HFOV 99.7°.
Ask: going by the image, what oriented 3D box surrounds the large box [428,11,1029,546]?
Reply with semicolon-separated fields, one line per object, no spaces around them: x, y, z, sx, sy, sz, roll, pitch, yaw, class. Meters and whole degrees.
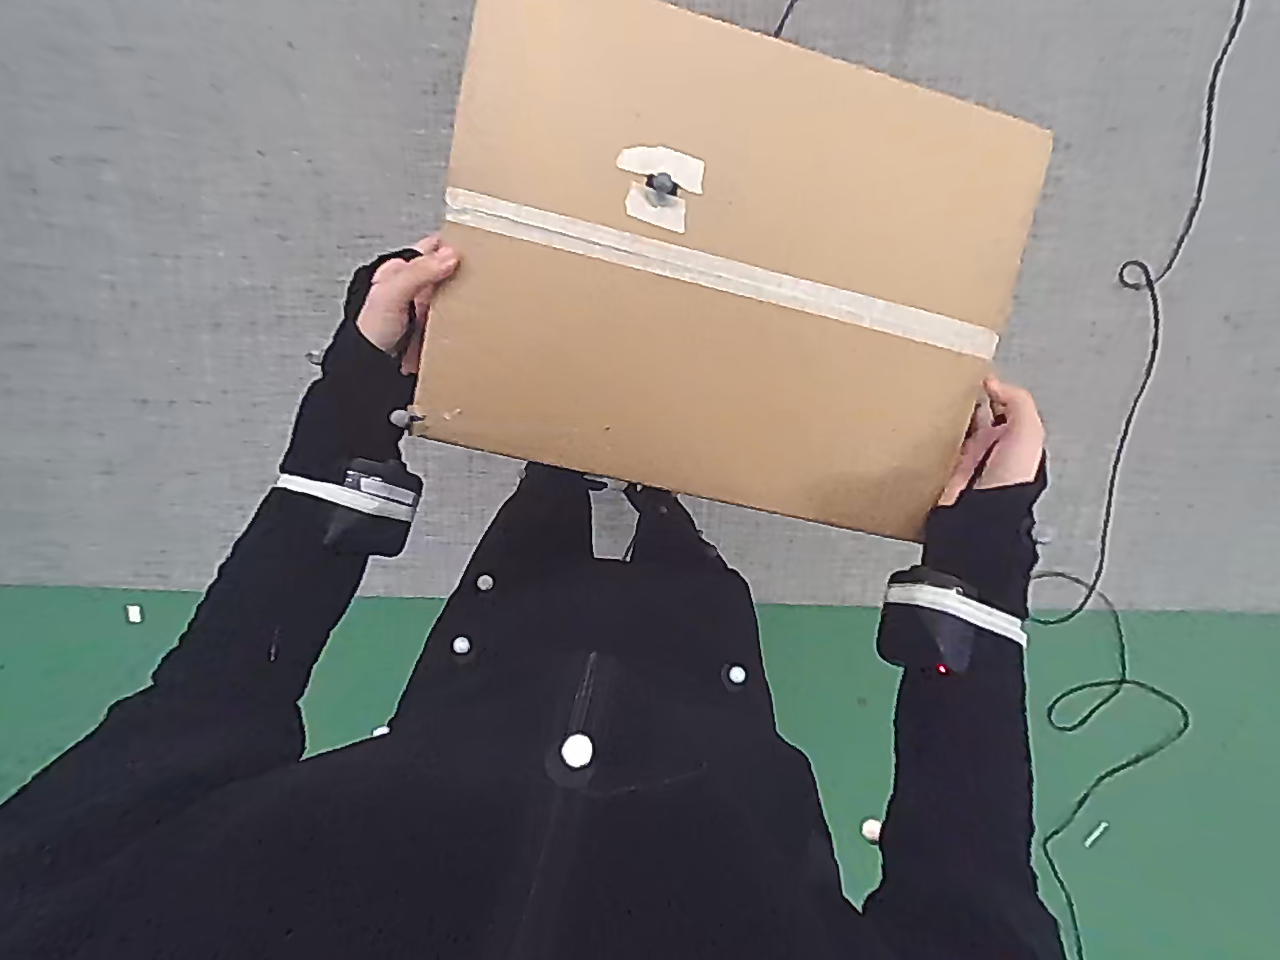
0.056;-0.155;0.549;0.408;0.320;0.320;12;98;-6;large box
